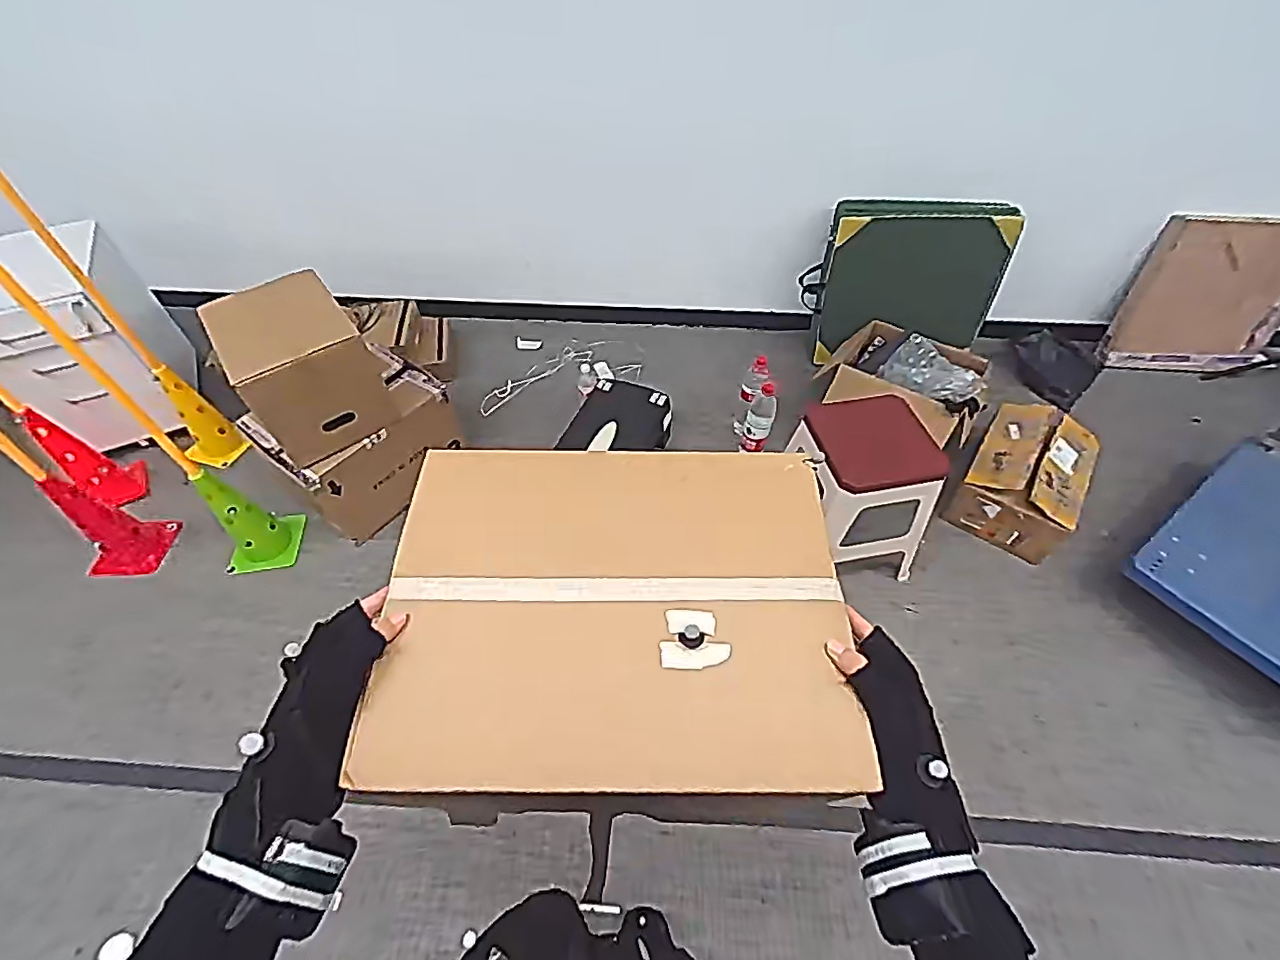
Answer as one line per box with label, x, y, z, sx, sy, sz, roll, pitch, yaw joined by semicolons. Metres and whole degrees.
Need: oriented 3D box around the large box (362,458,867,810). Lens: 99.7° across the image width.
large box;-0.023;0.187;0.624;0.408;0.320;0.320;1;56;-1
